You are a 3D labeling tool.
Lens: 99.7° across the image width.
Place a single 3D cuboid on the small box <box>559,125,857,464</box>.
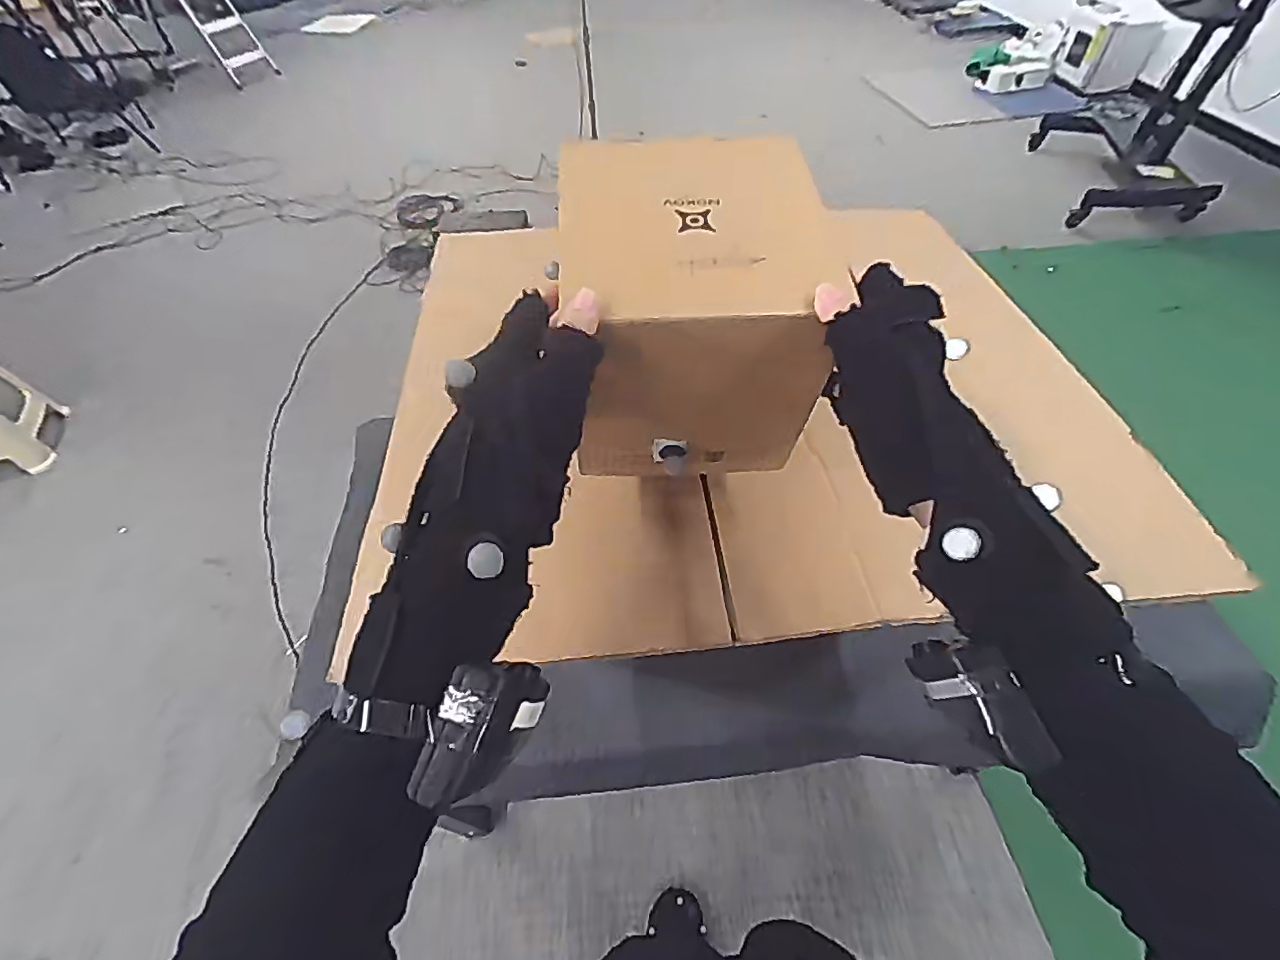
[{"bbox_3d":[0.030,-0.130,0.401,0.168,0.176,0.179,-3,60,-3],"label":"small box"}]
